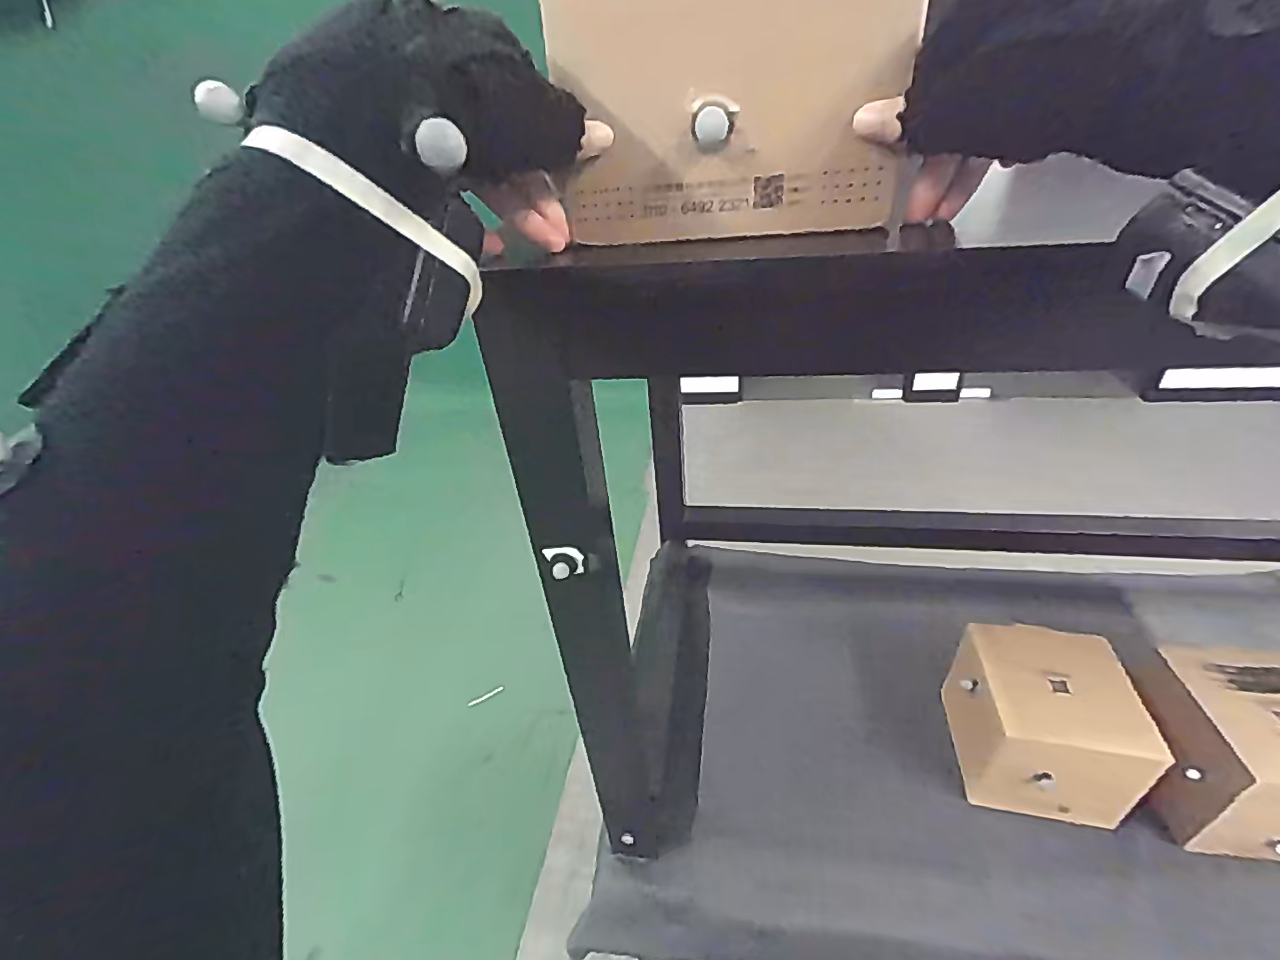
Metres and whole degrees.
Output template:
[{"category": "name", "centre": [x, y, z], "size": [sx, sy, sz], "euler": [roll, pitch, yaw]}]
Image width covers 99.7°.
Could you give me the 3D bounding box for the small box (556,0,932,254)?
[{"category": "small box", "centre": [0.052, -0.235, 0.308], "size": [0.168, 0.176, 0.179], "euler": [0, 35, 9]}]

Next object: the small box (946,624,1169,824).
[{"category": "small box", "centre": [0.531, 0.322, 0.721], "size": [0.168, 0.176, 0.179], "euler": [3, 35, 14]}]
